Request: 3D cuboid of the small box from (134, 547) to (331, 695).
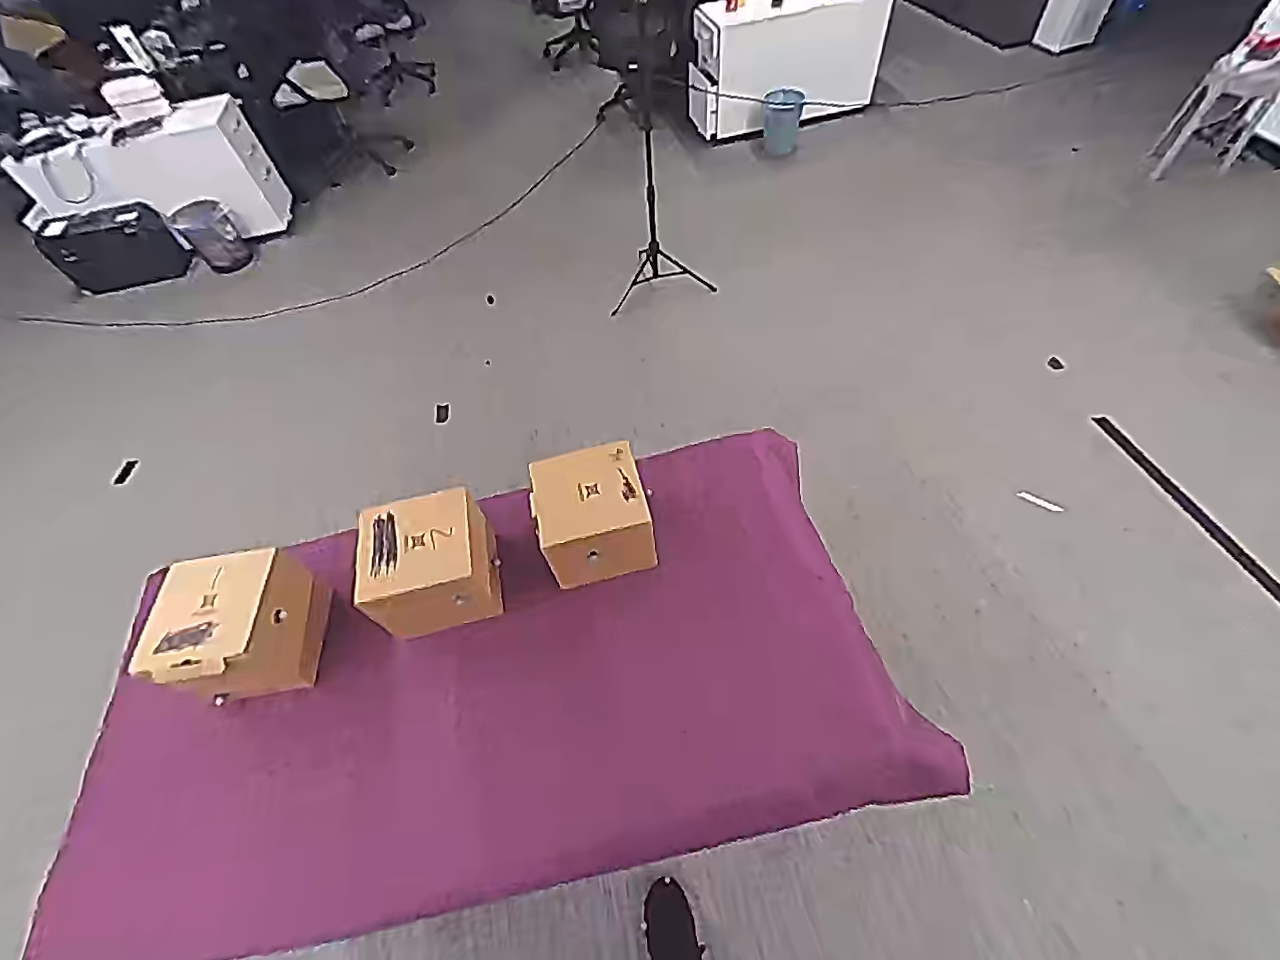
[{"bbox_3d":[-0.627,0.231,0.861,0.168,0.176,0.179,-9,55,-1],"label":"small box"}]
